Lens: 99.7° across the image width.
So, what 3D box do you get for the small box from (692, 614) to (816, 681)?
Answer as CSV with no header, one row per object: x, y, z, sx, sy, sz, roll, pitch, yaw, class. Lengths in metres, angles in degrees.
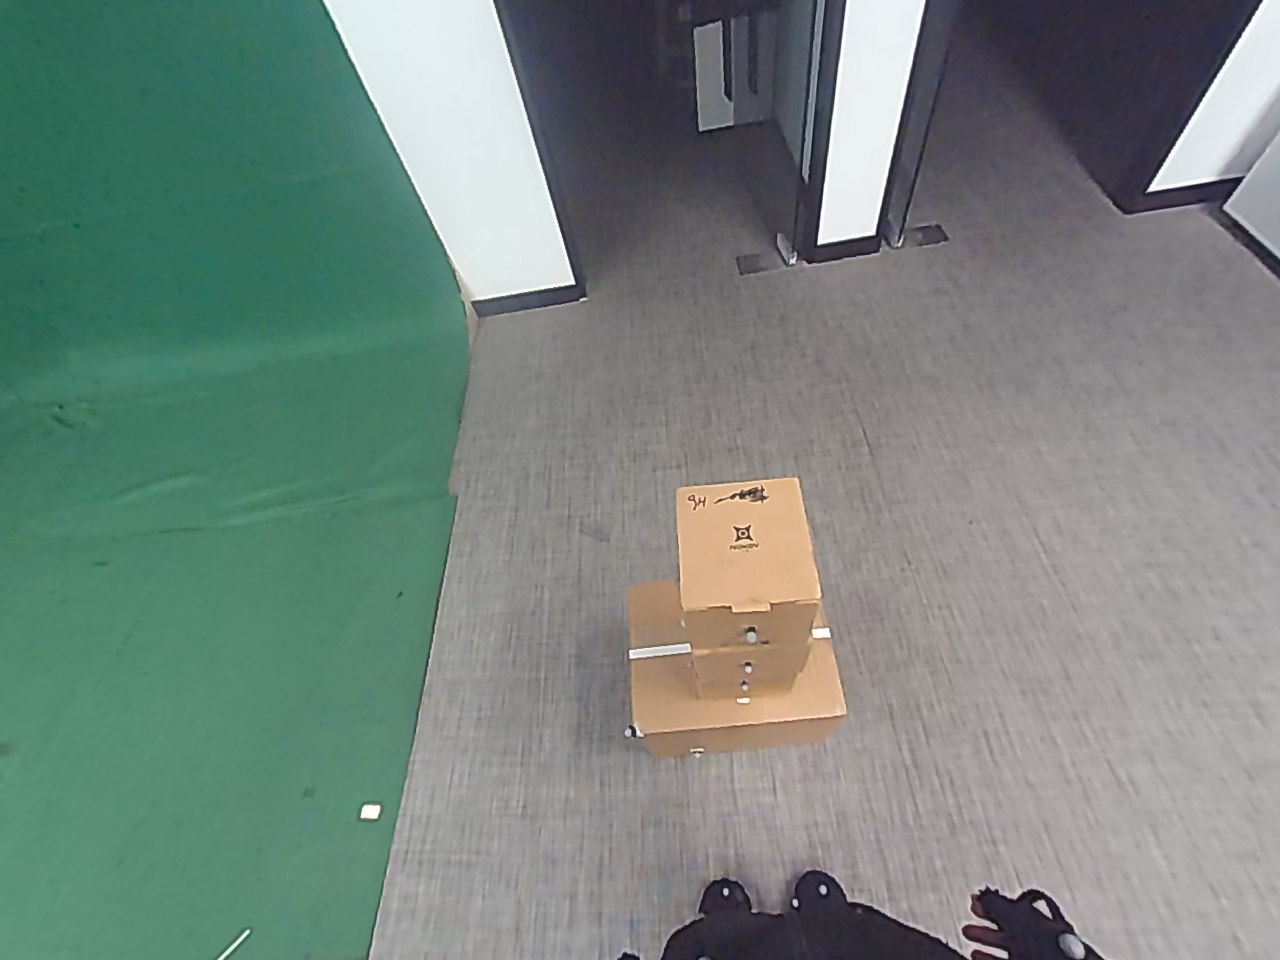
0.168,0.217,0.878,0.179,0.176,0.168,-9,56,4,small box

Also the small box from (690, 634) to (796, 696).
0.186,0.302,1.018,0.179,0.176,0.168,-6,57,6,small box

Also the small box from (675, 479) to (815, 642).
0.141,0.120,0.749,0.168,0.176,0.179,-5,57,8,small box
